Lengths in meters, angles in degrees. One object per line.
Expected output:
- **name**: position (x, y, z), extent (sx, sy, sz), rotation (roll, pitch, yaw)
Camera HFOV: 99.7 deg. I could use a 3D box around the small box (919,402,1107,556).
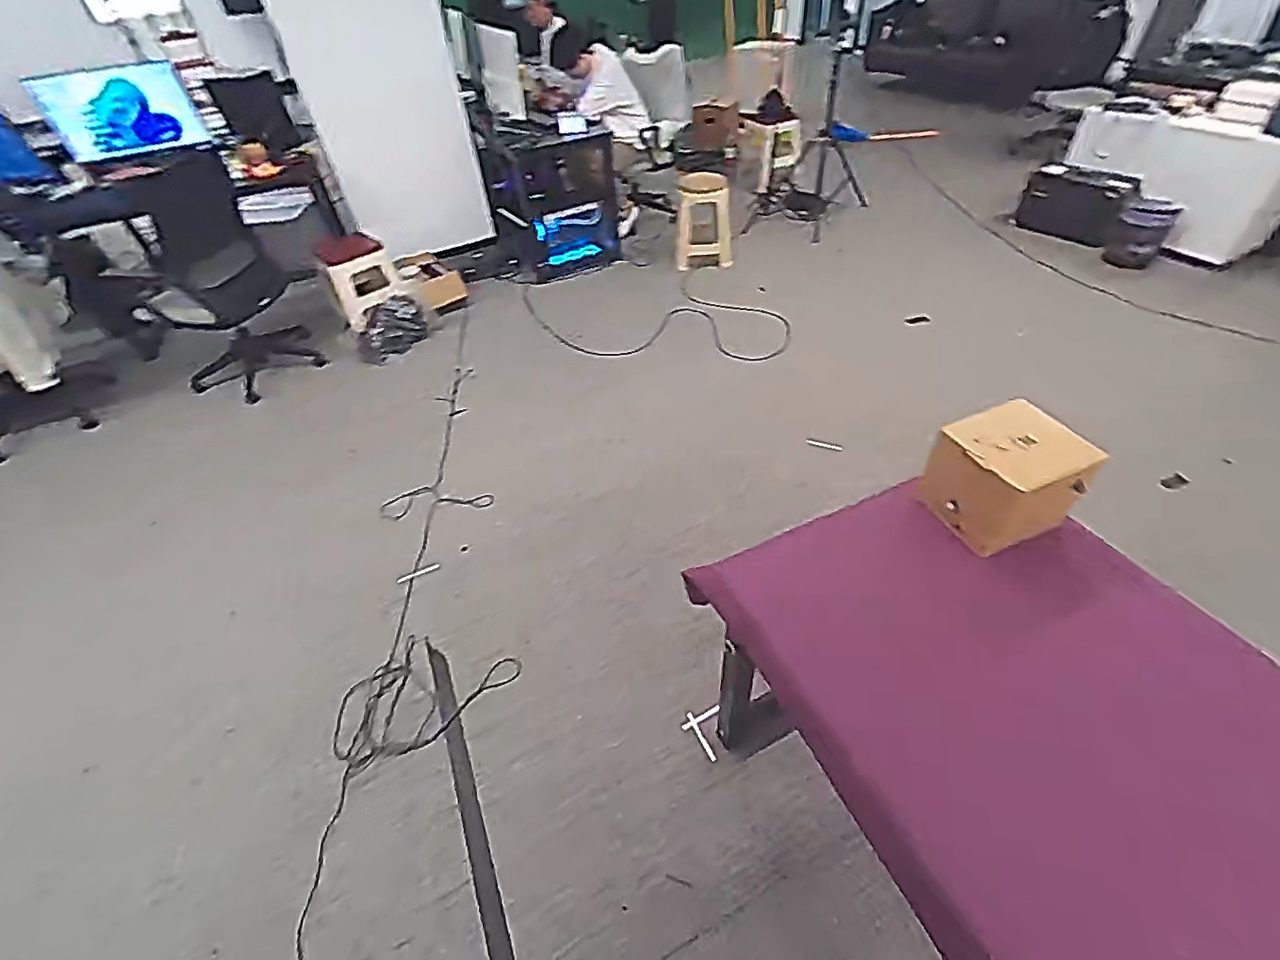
- **small box**: position (0.618, -0.001, 0.924), extent (0.179, 0.176, 0.168), rotation (-19, 47, -11)
